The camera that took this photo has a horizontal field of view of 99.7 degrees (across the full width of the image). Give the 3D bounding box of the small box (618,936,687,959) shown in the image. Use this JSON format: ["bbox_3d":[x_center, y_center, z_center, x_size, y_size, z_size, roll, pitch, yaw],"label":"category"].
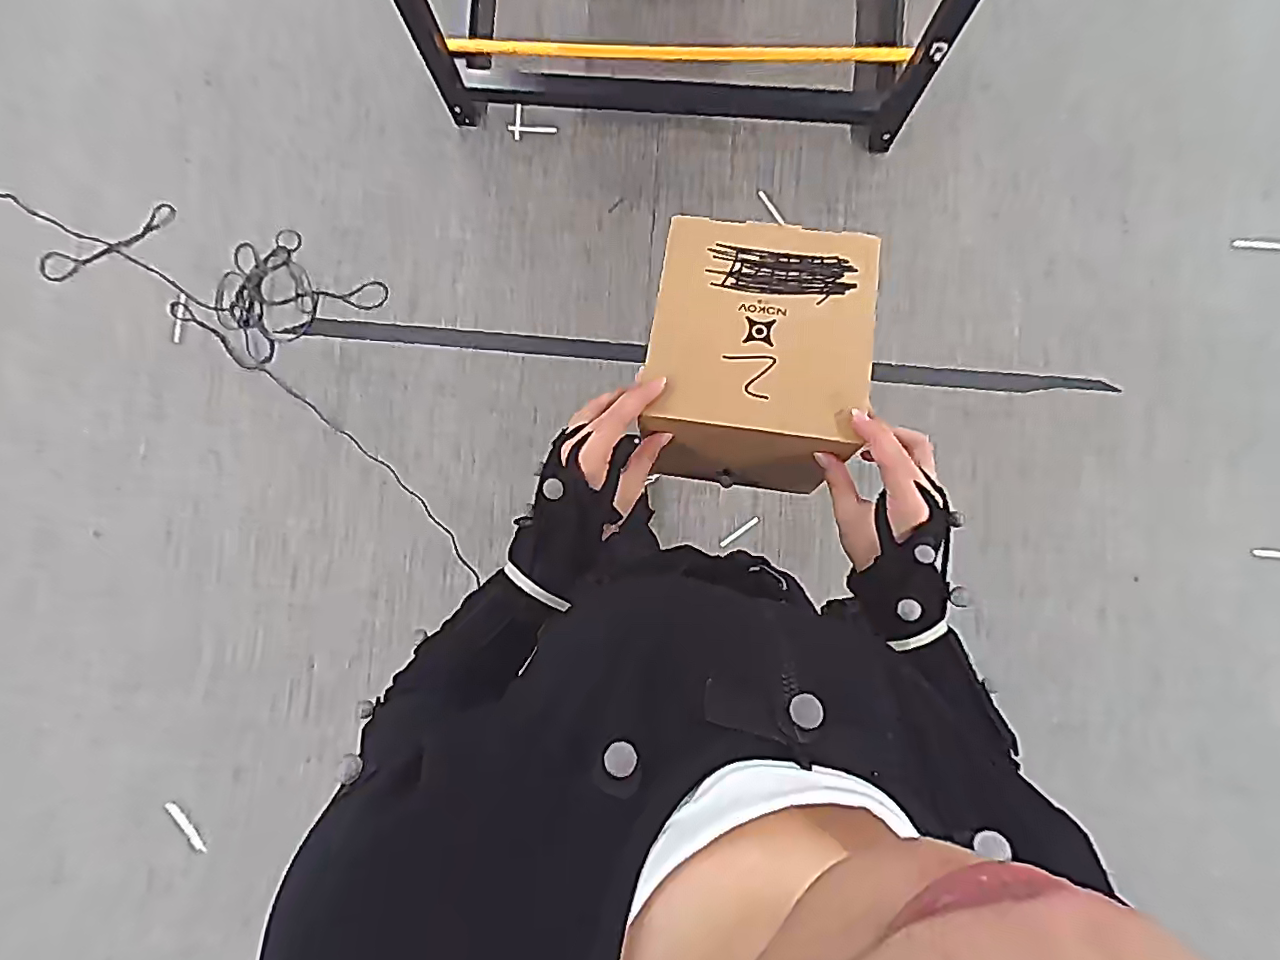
[{"bbox_3d":[0.023,1.200,1.237,0.168,0.176,0.179,6,87,2],"label":"small box"}]
